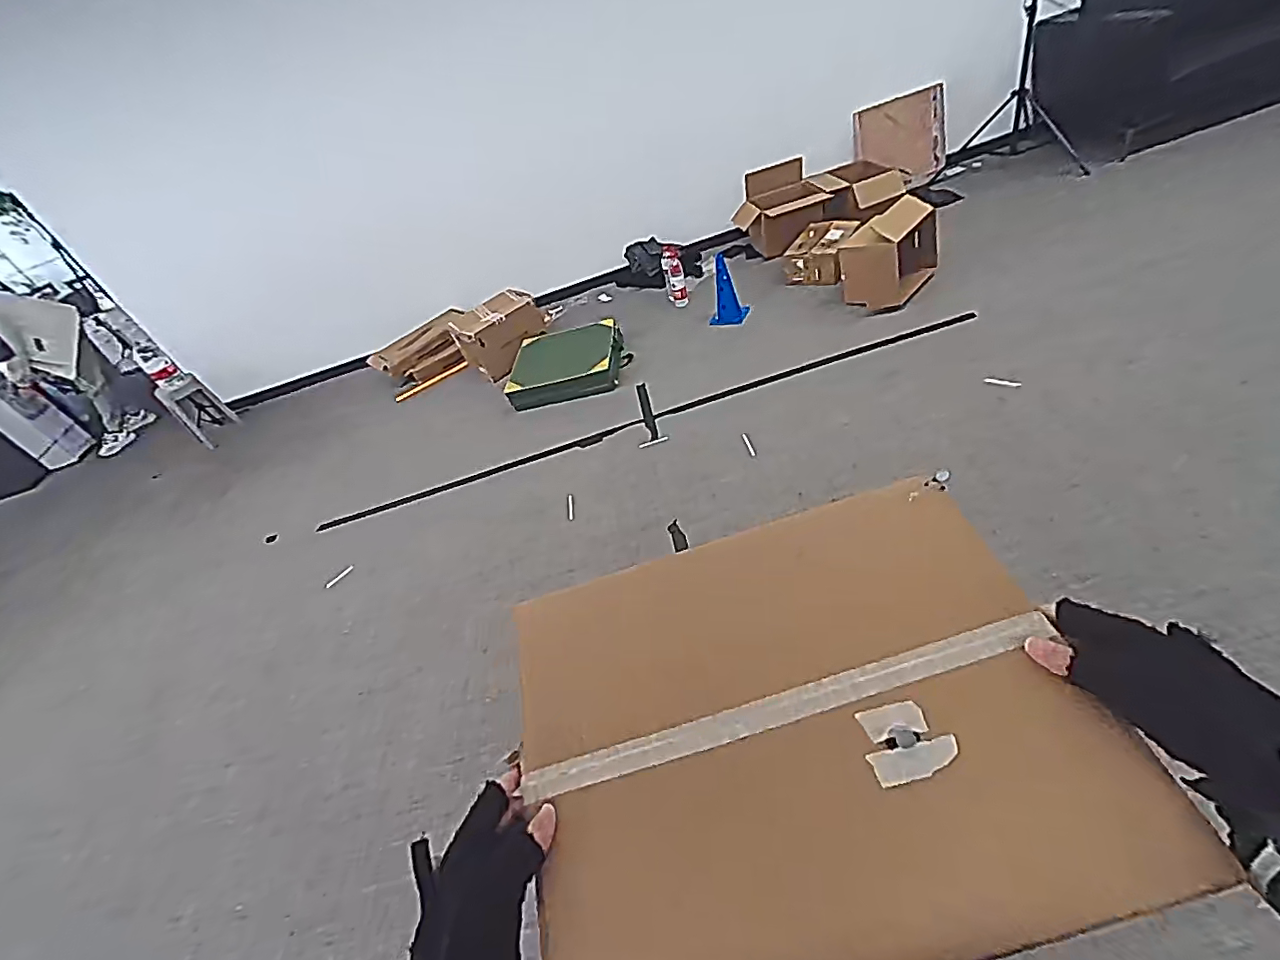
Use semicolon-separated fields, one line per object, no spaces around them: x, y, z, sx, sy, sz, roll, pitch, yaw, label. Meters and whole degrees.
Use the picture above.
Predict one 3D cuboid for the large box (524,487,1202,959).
0.142;0.270;0.527;0.408;0.320;0.320;-18;50;1;large box
